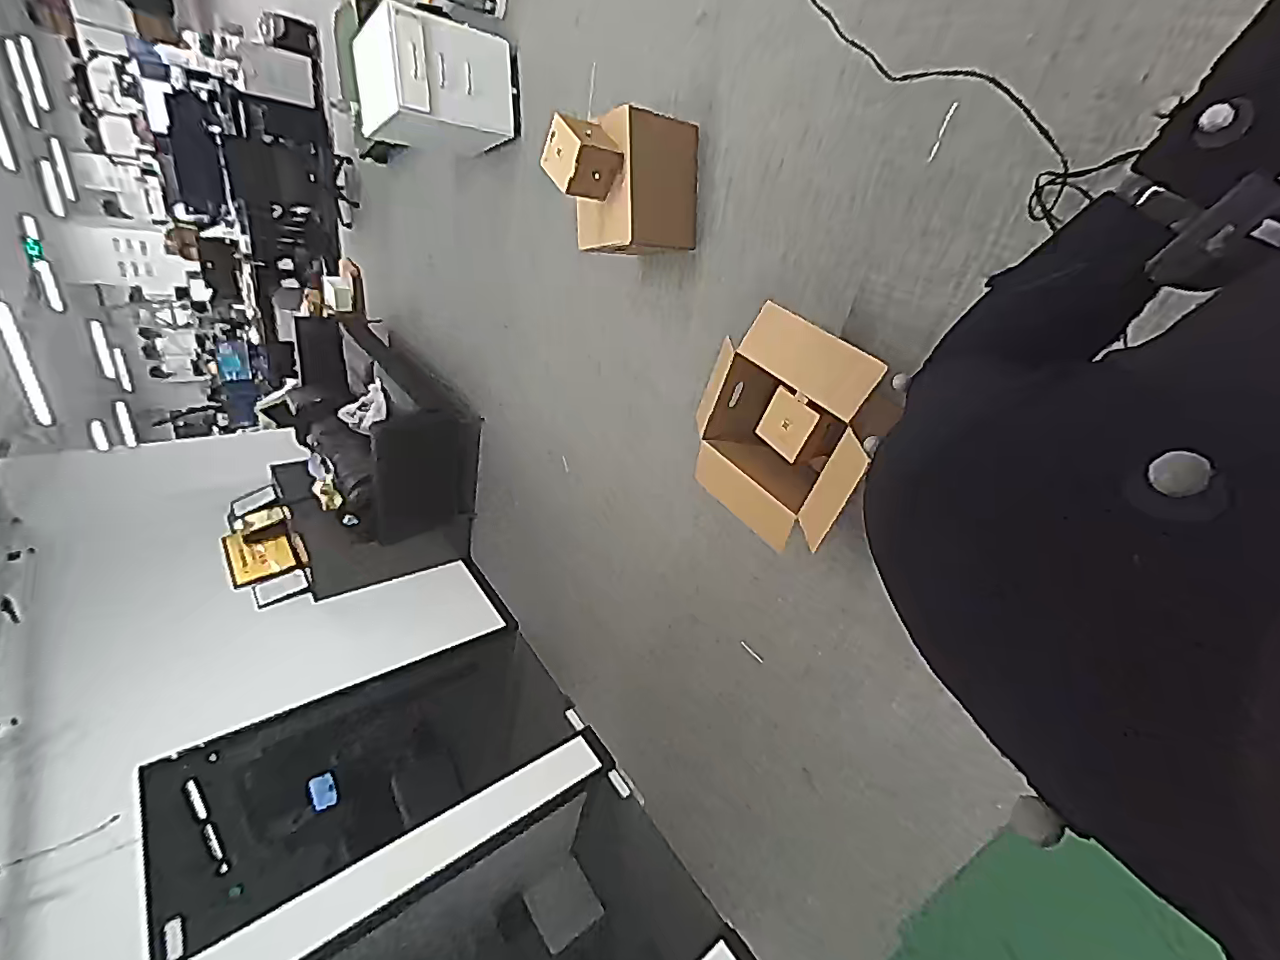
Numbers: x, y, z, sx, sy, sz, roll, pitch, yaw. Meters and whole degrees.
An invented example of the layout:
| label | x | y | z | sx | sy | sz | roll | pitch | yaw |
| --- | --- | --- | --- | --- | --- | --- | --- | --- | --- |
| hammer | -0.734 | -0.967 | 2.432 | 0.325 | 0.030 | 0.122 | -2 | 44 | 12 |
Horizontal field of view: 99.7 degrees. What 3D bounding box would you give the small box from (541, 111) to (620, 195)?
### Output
| label | x | y | z | sx | sy | sz | roll | pitch | yaw |
| --- | --- | --- | --- | --- | --- | --- | --- | --- | --- |
| small box | -0.191 | -1.053 | 1.755 | 0.179 | 0.176 | 0.168 | 56 | 137 | 20 |
